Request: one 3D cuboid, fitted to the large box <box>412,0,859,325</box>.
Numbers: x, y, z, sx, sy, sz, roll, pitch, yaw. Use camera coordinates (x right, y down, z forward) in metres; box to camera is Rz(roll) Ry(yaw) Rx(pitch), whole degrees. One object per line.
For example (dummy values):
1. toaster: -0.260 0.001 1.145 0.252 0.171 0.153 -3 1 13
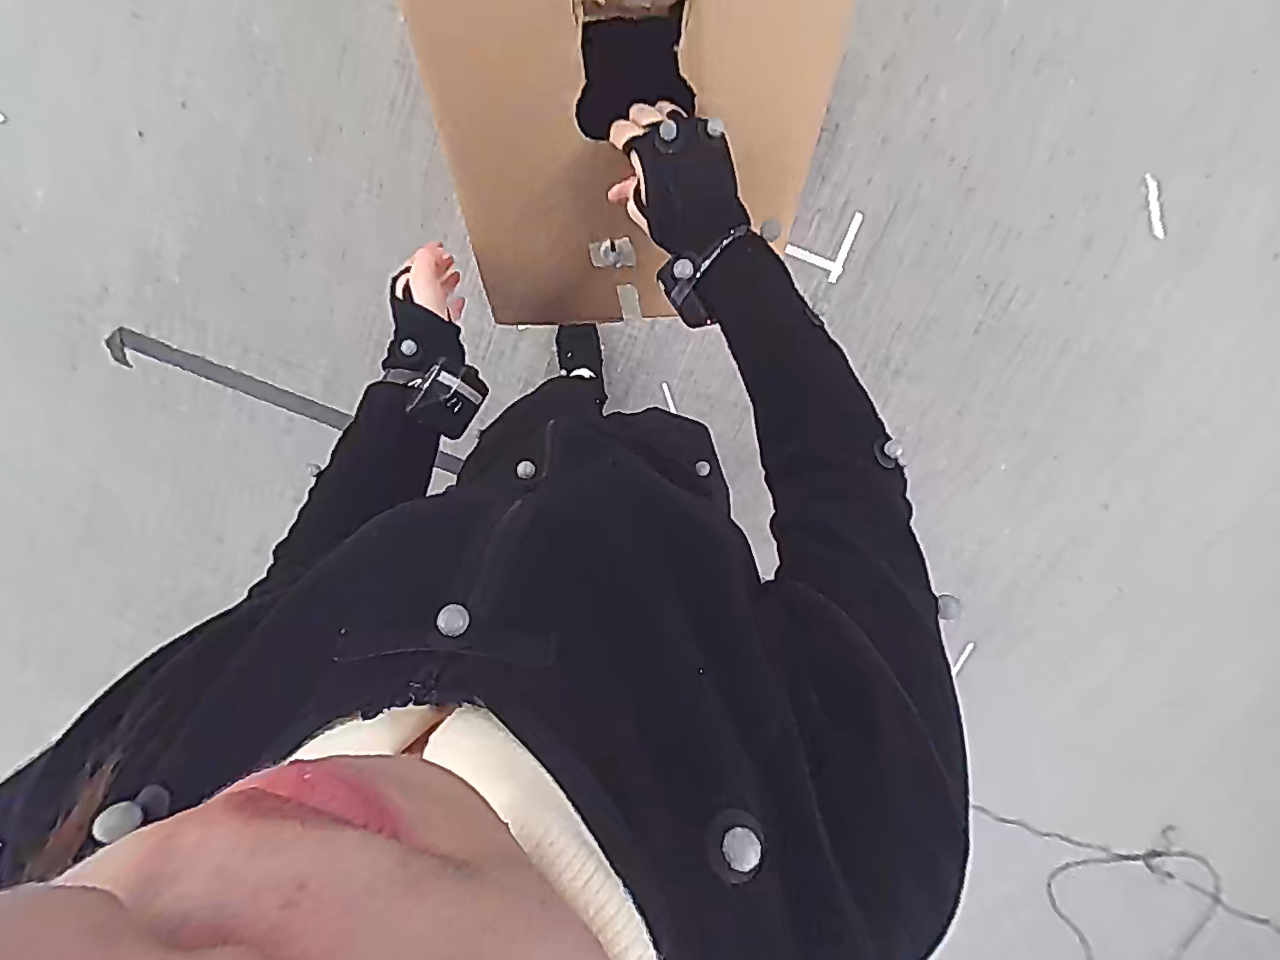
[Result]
1. large box: -0.017 -0.422 0.569 0.320 0.320 0.408 -3 60 -3
